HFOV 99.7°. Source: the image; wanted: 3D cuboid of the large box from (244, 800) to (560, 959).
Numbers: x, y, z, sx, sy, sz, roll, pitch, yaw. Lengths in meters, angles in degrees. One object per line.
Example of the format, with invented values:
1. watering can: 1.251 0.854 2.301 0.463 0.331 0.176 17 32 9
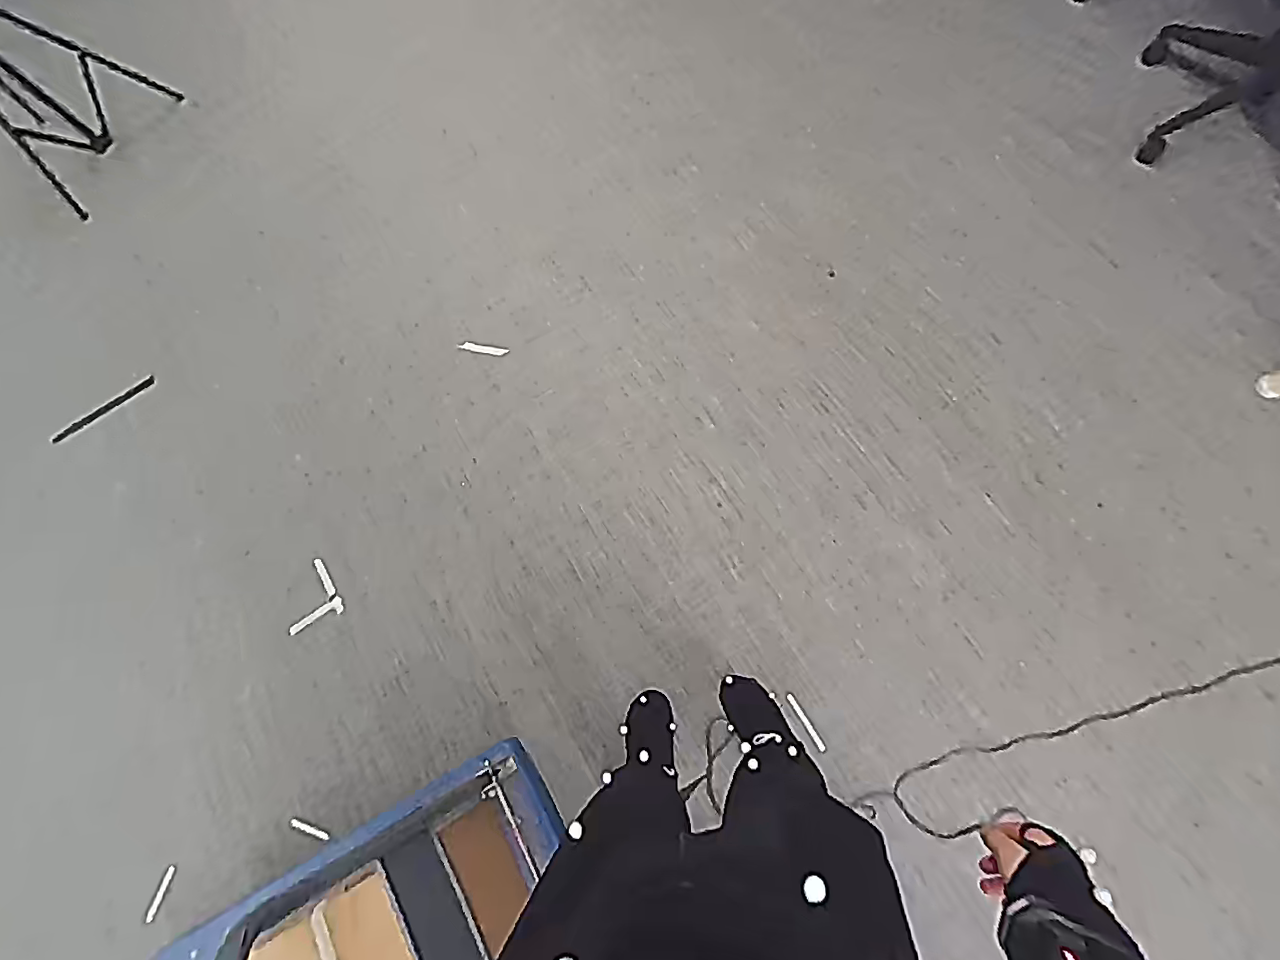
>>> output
1. large box: -0.361 0.856 0.918 0.320 0.320 0.408 -31 72 -2
